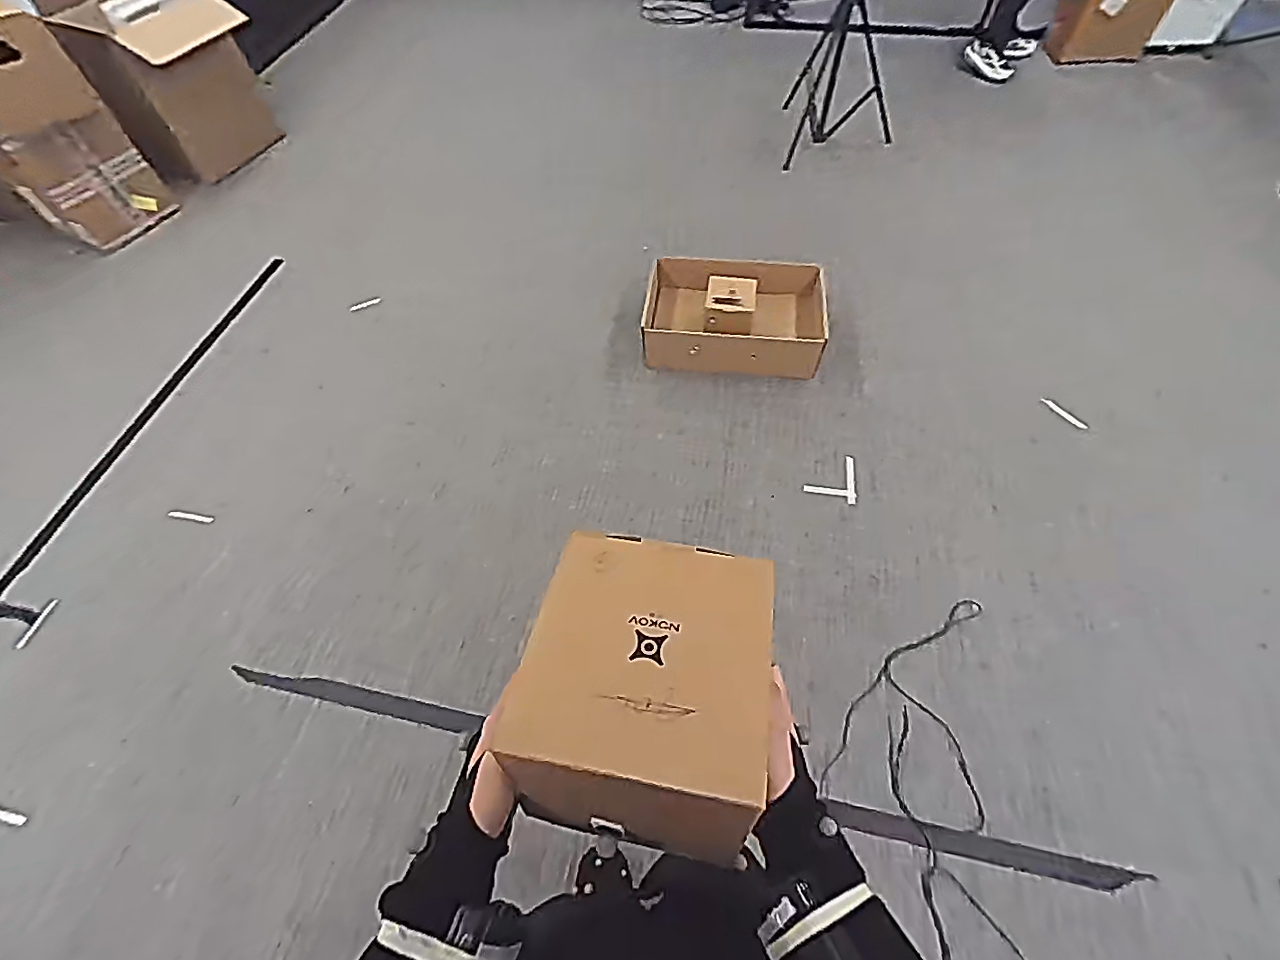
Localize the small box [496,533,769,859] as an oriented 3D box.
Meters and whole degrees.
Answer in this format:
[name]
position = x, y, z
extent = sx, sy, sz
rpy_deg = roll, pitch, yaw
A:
[small box]
position = 0.006, 0.170, 0.433
extent = 0.168, 0.176, 0.179
rpy_deg = 7, 46, 8
